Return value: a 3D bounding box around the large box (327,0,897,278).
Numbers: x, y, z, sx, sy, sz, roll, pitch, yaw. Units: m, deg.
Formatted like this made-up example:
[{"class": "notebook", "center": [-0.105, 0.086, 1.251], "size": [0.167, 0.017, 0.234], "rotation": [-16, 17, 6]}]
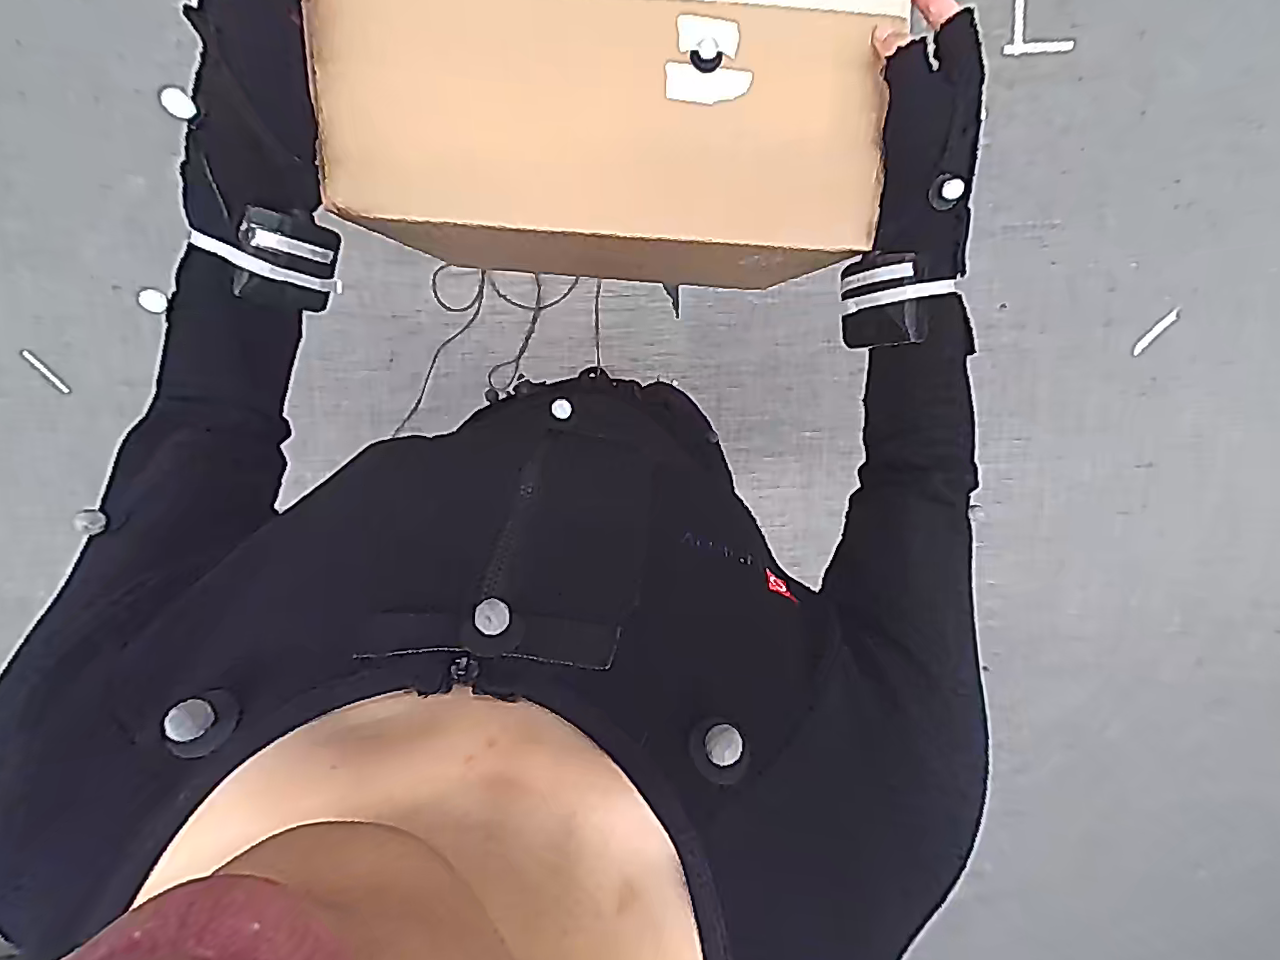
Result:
[{"class": "large box", "center": [-0.022, -0.381, 0.517], "size": [0.408, 0.320, 0.320], "rotation": [3, 105, -3]}]
